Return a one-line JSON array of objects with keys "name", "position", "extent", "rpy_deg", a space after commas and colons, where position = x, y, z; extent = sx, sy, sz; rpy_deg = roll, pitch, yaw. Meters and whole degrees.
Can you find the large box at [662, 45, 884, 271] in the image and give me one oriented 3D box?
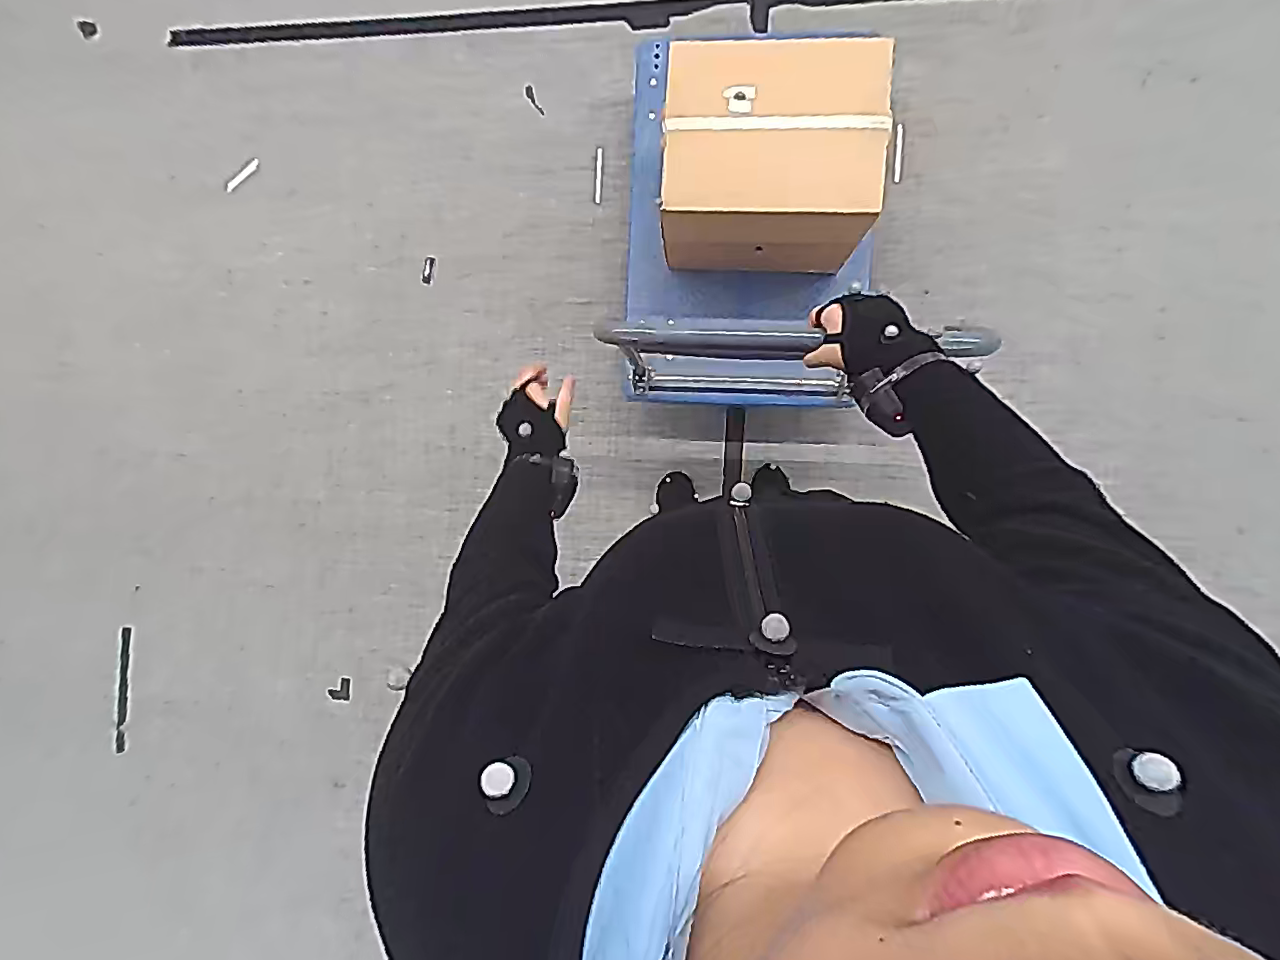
[{"name": "large box", "position": [0.264, -0.655, 1.163], "extent": [0.408, 0.320, 0.320], "rpy_deg": [3, 91, 7]}]
